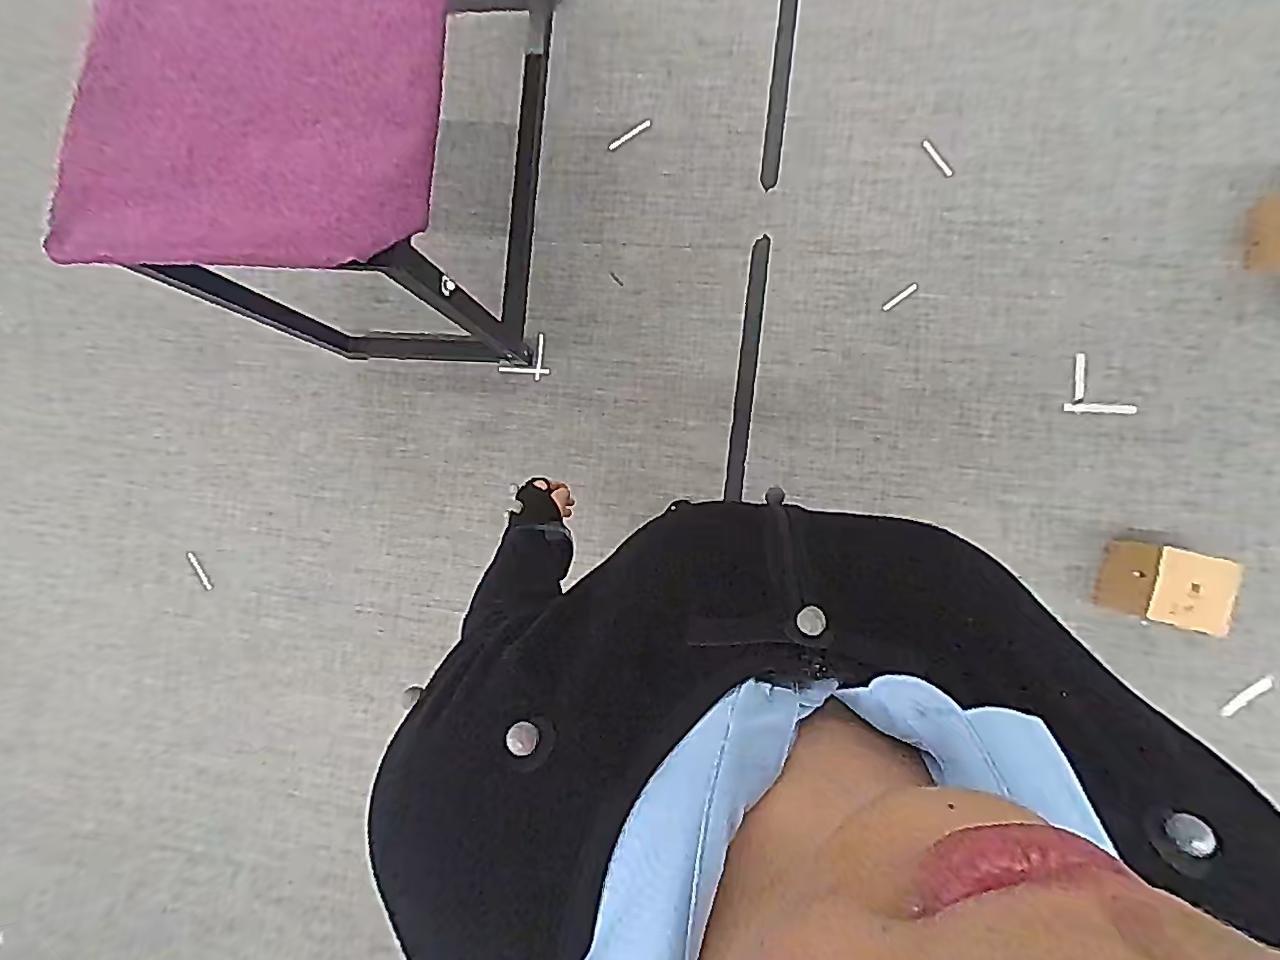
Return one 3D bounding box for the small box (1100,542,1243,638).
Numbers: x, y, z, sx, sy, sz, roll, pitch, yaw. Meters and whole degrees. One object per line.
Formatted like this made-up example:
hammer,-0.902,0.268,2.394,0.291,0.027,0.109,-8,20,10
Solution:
small box,1.263,0.253,1.300,0.168,0.176,0.179,15,90,8
